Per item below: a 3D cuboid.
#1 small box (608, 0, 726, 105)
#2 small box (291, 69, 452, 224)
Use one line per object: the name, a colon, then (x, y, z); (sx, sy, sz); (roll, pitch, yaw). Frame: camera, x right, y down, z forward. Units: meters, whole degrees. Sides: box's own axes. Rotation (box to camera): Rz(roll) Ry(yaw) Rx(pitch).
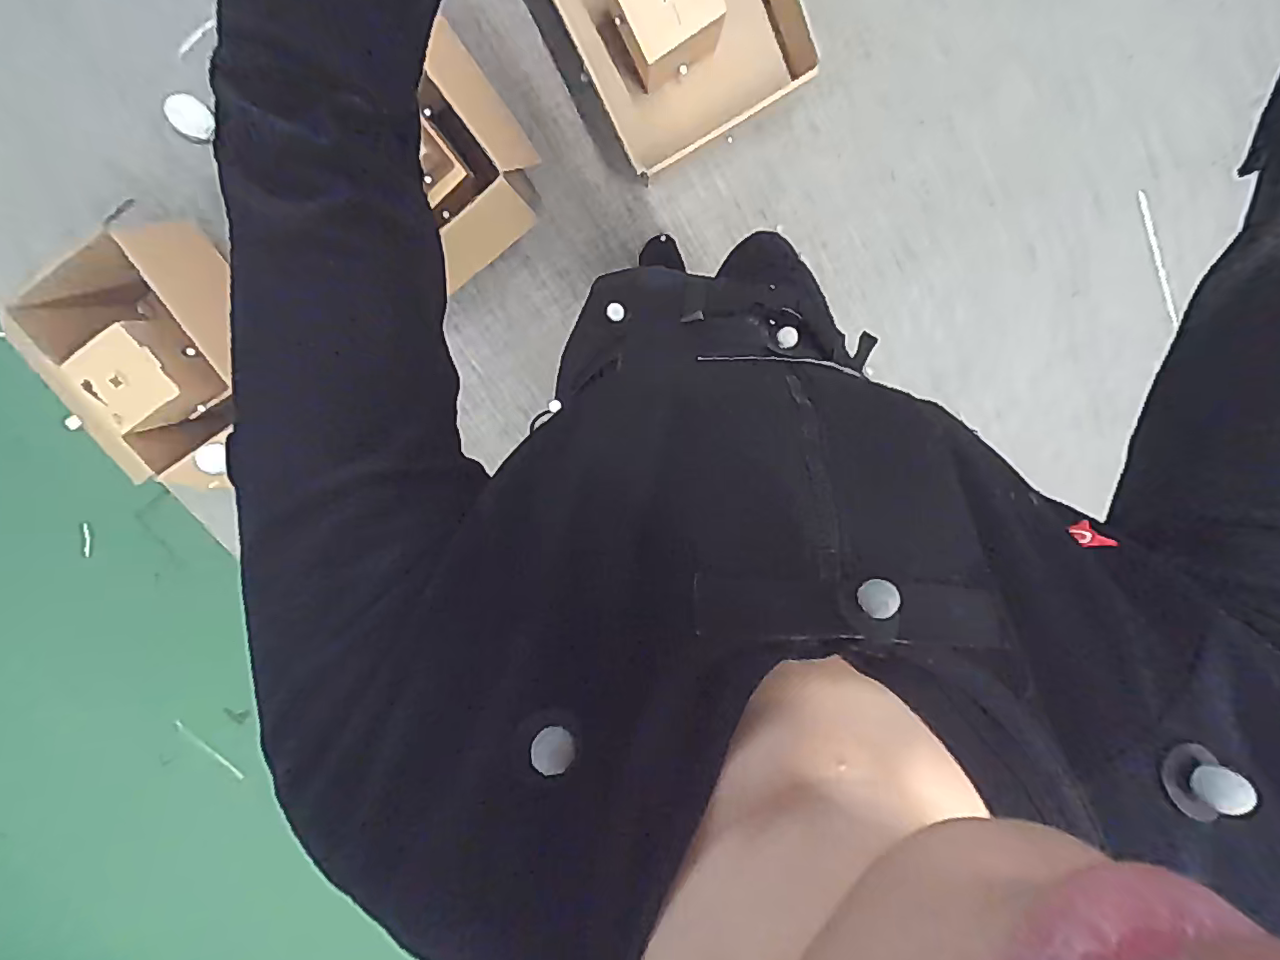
small box: (0.044, -0.877, 1.042); (0.168, 0.176, 0.179); (-28, 106, 9)
small box: (-0.483, -0.600, 1.004); (0.168, 0.176, 0.179); (-35, 107, 11)
